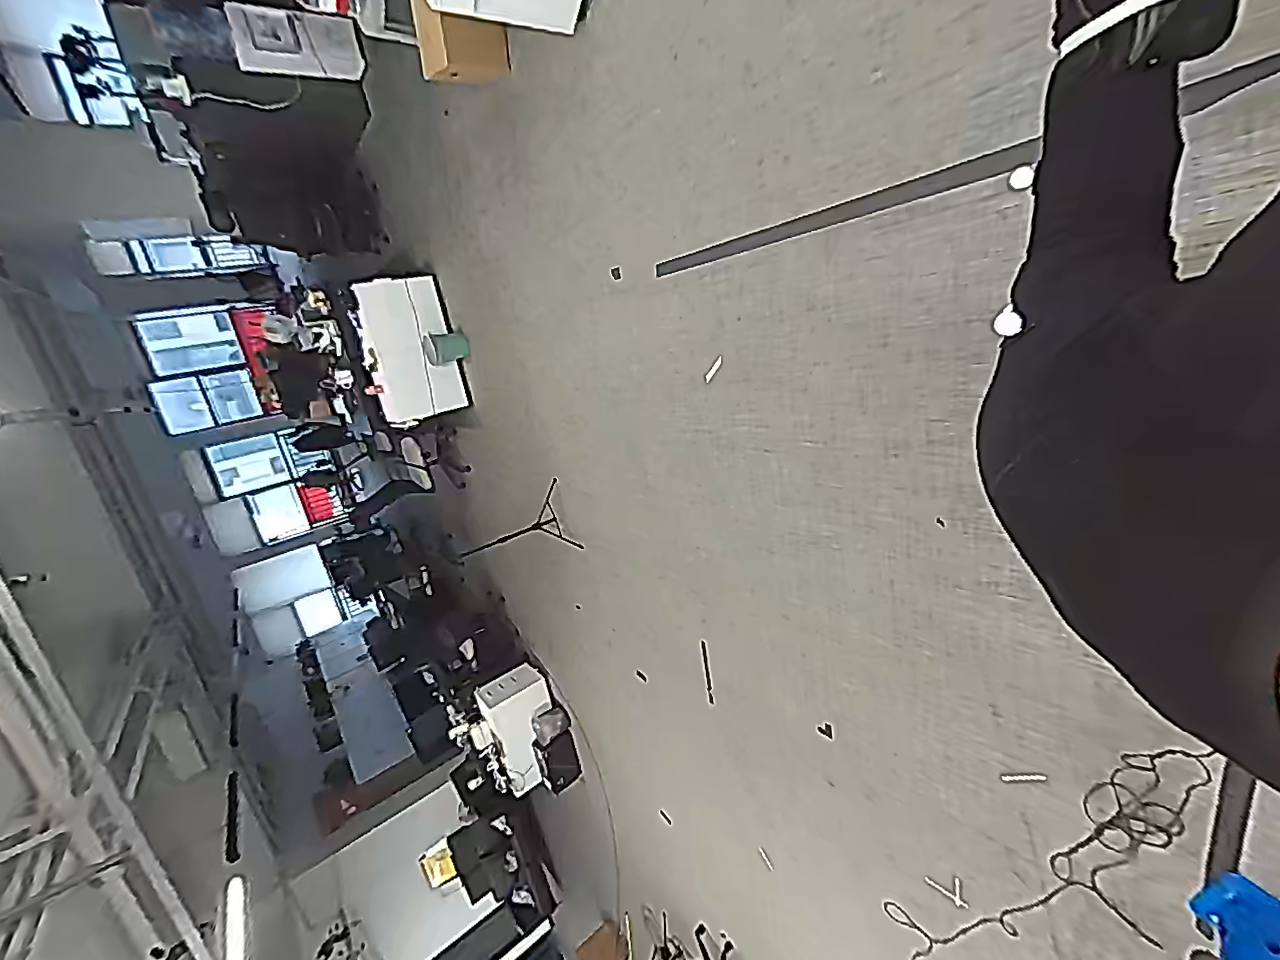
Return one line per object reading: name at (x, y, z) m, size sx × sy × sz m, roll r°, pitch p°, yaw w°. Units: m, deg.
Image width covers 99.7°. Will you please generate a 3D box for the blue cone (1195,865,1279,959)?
blue cone at (1.346, 1.080, 1.189) m, size 0.193 × 0.380 × 0.192 m, roll 36°, pitch 135°, yaw 39°
